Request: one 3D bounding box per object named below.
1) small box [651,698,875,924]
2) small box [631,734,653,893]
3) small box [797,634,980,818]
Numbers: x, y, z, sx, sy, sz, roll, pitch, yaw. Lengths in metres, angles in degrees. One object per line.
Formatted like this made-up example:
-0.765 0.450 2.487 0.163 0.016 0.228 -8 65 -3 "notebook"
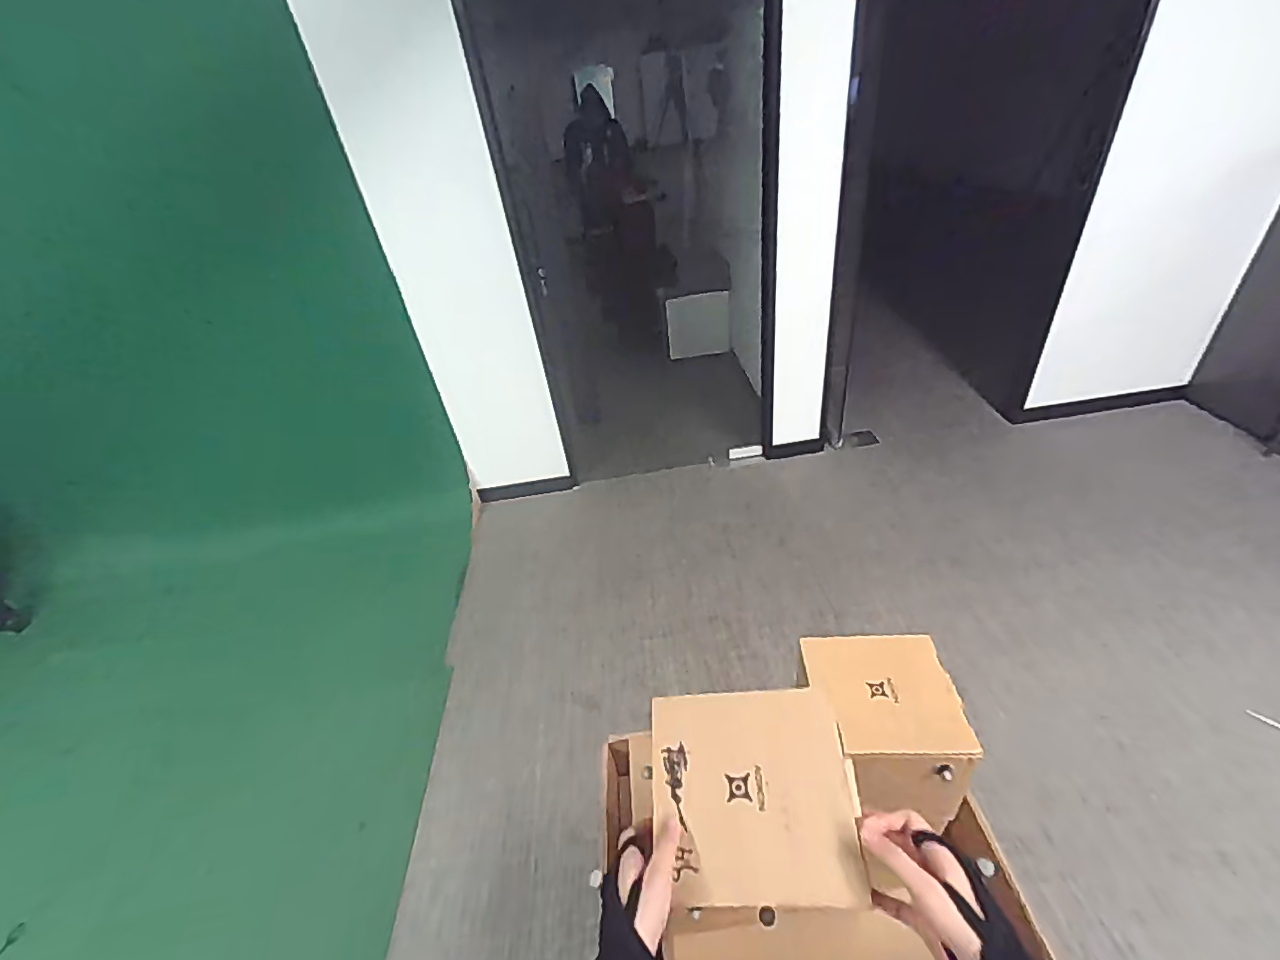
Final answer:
0.112 0.321 0.532 0.179 0.176 0.168 -7 53 11 "small box"
0.080 0.498 0.805 0.168 0.176 0.179 -7 37 2 "small box"
0.308 0.325 0.716 0.179 0.176 0.168 -3 36 7 "small box"
